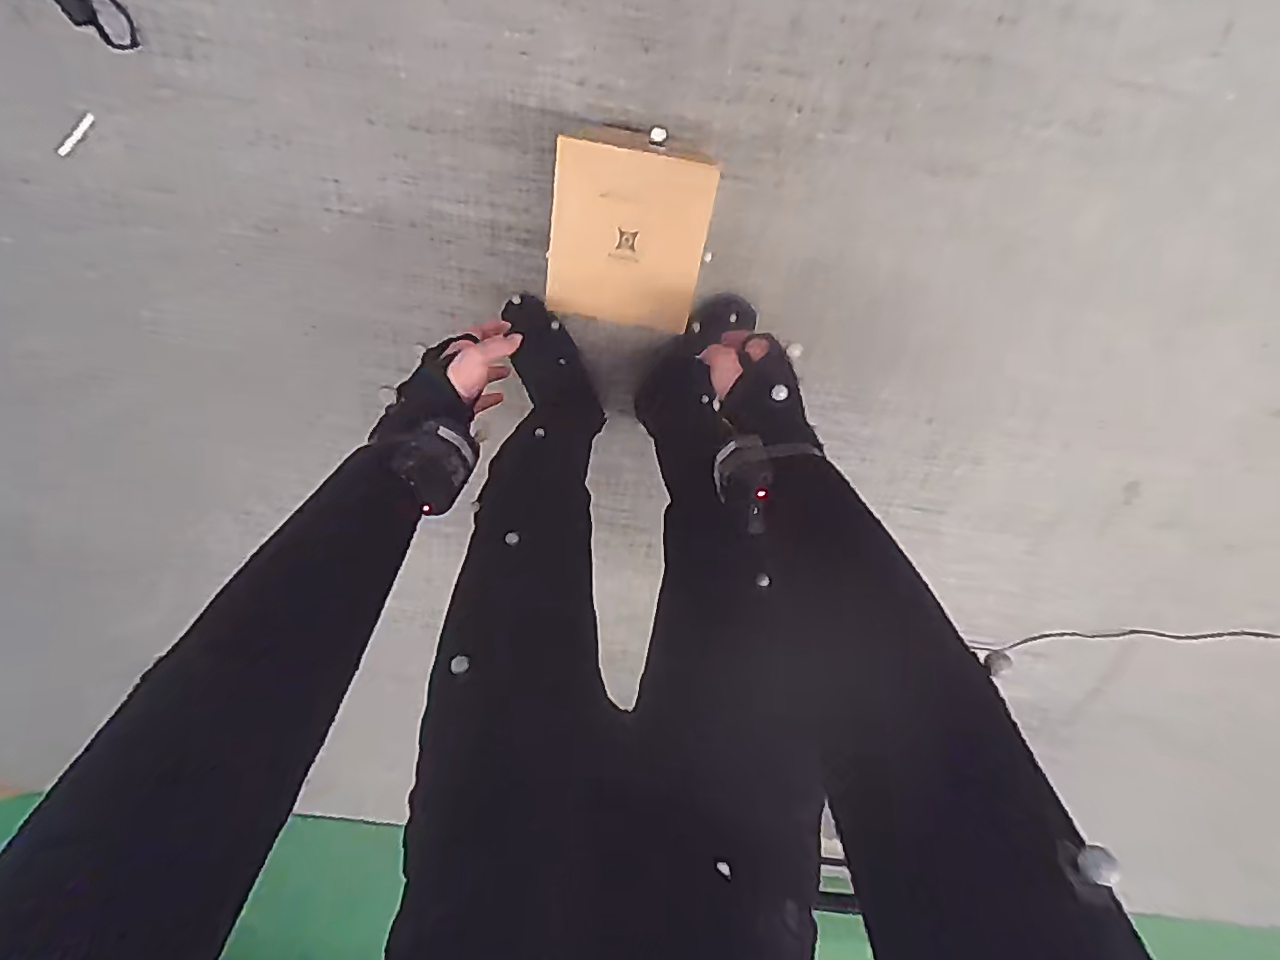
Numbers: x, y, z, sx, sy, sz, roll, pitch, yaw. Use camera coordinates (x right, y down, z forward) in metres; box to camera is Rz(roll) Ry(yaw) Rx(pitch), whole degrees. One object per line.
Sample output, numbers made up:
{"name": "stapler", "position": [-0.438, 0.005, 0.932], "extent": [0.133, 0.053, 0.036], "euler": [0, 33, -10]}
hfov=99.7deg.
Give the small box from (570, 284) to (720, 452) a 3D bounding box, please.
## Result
{"name": "small box", "position": [0.005, -0.150, 0.694], "extent": [0.168, 0.176, 0.179], "euler": [3, 113, 0]}
